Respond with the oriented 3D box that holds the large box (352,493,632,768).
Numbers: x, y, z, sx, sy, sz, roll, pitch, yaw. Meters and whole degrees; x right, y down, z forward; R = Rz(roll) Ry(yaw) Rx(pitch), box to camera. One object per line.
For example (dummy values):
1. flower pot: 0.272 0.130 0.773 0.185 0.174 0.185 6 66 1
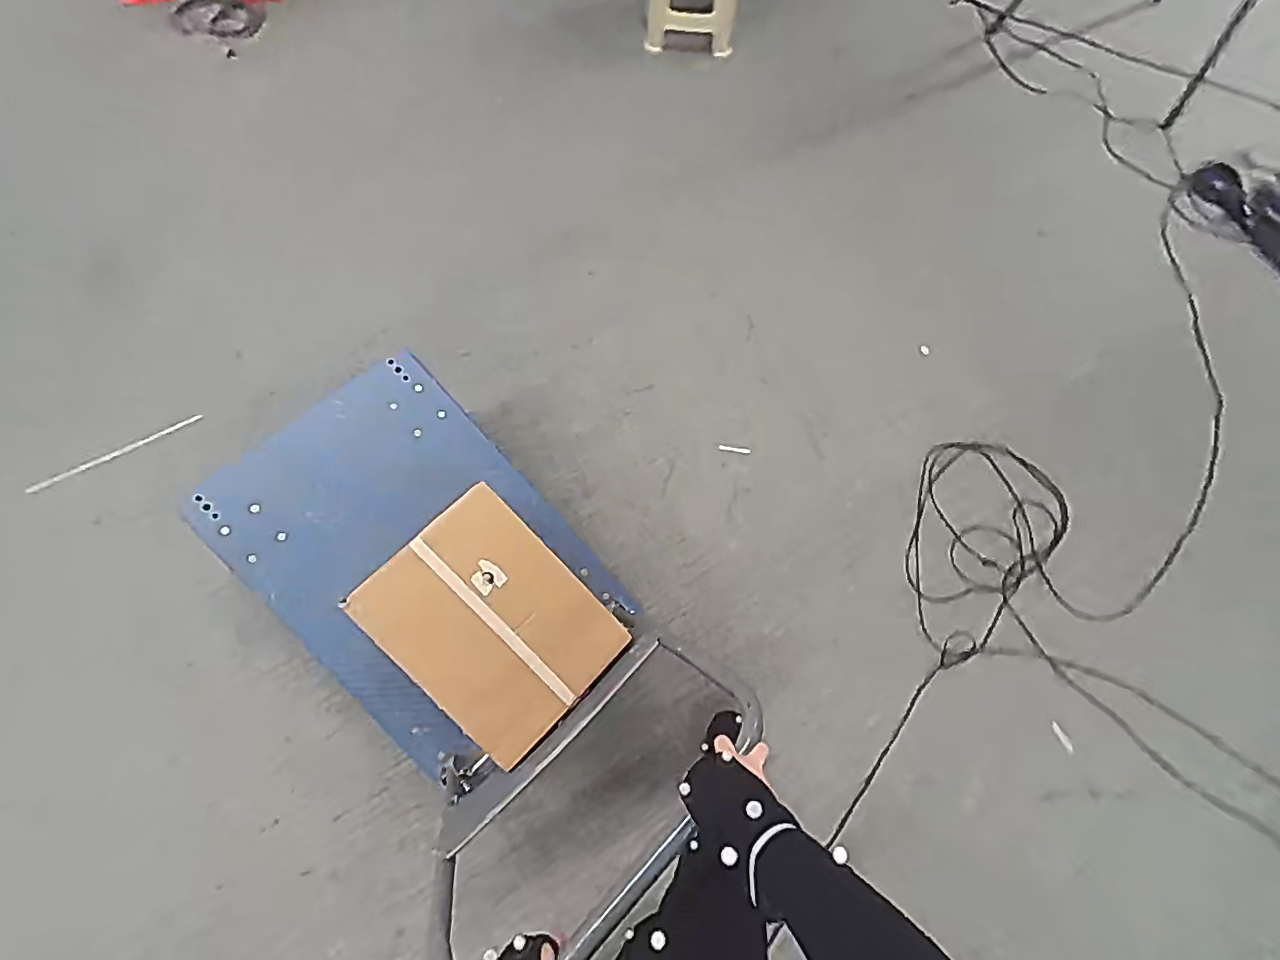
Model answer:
1. large box: -0.284 0.286 1.114 0.408 0.320 0.320 46 74 -3
